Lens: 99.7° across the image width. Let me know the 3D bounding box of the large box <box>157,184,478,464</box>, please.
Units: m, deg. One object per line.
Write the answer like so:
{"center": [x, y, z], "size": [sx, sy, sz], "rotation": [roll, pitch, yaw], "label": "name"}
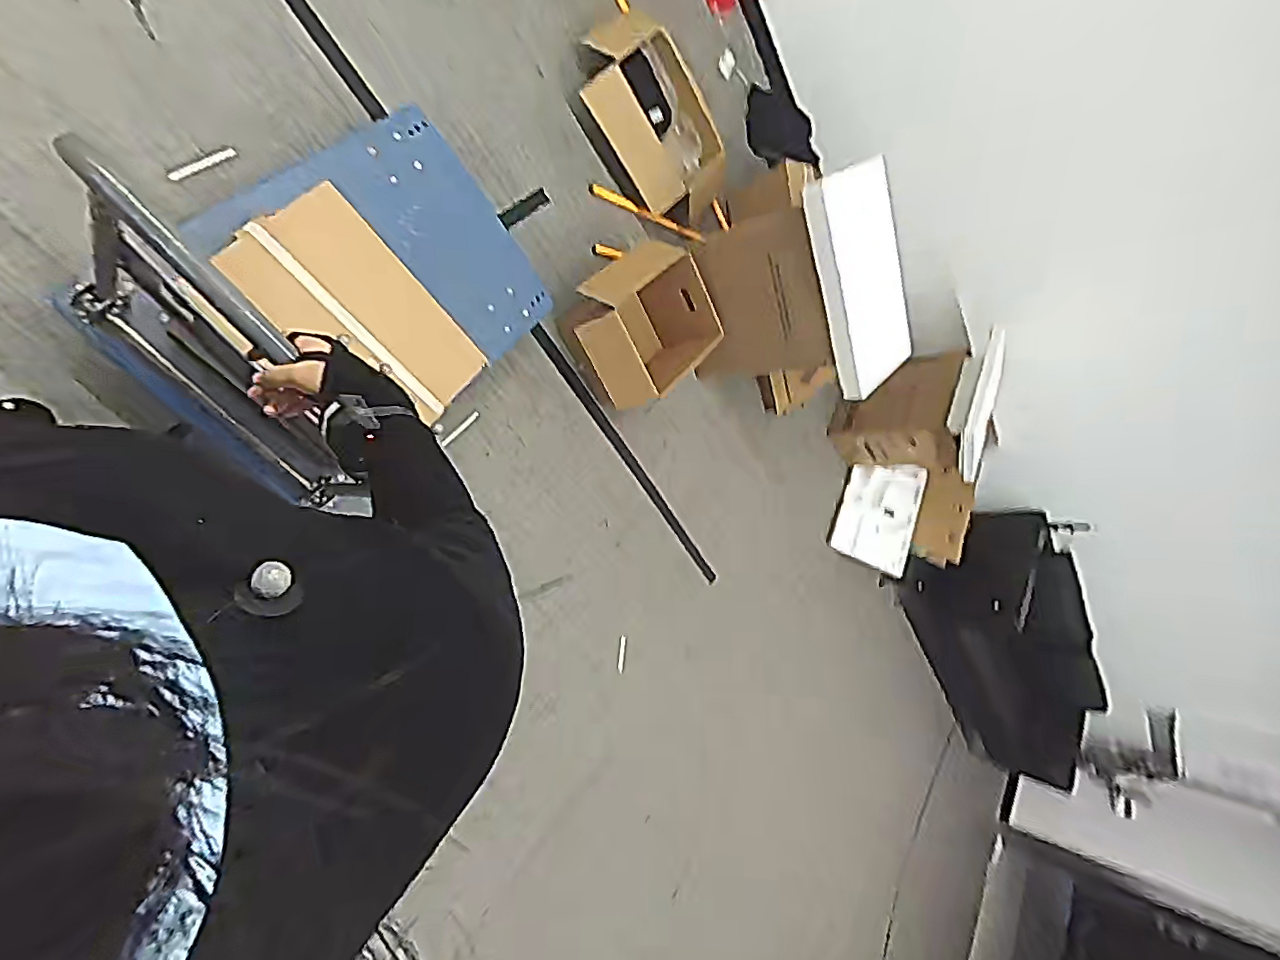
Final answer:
{"center": [-0.622, -0.273, 1.070], "size": [0.408, 0.320, 0.320], "rotation": [52, 59, -32], "label": "large box"}
